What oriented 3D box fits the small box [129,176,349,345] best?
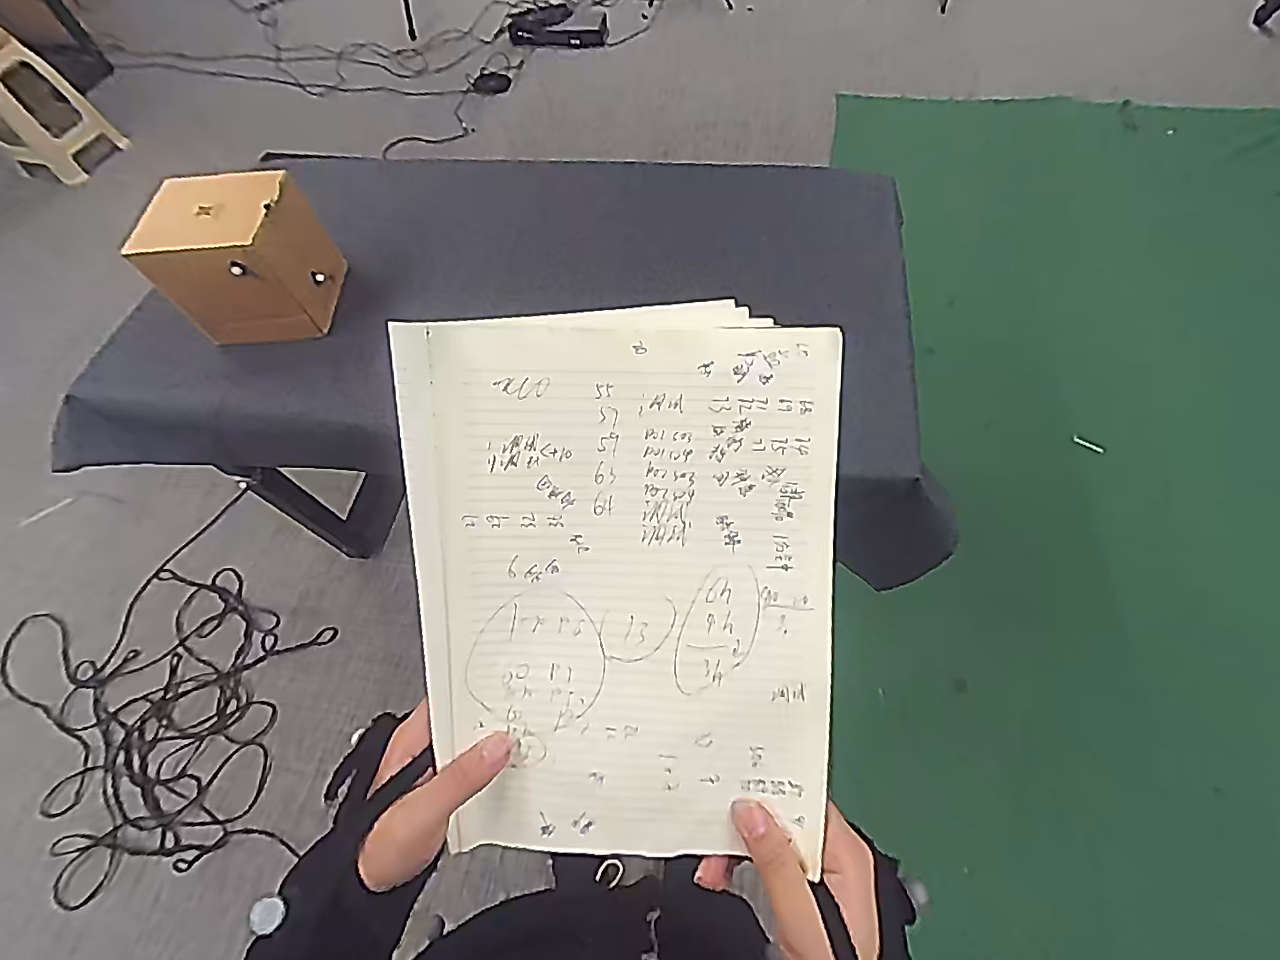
[{"bbox_3d":[-0.574,-0.319,0.804,0.179,0.176,0.168,-5,60,1],"label":"small box"}]
